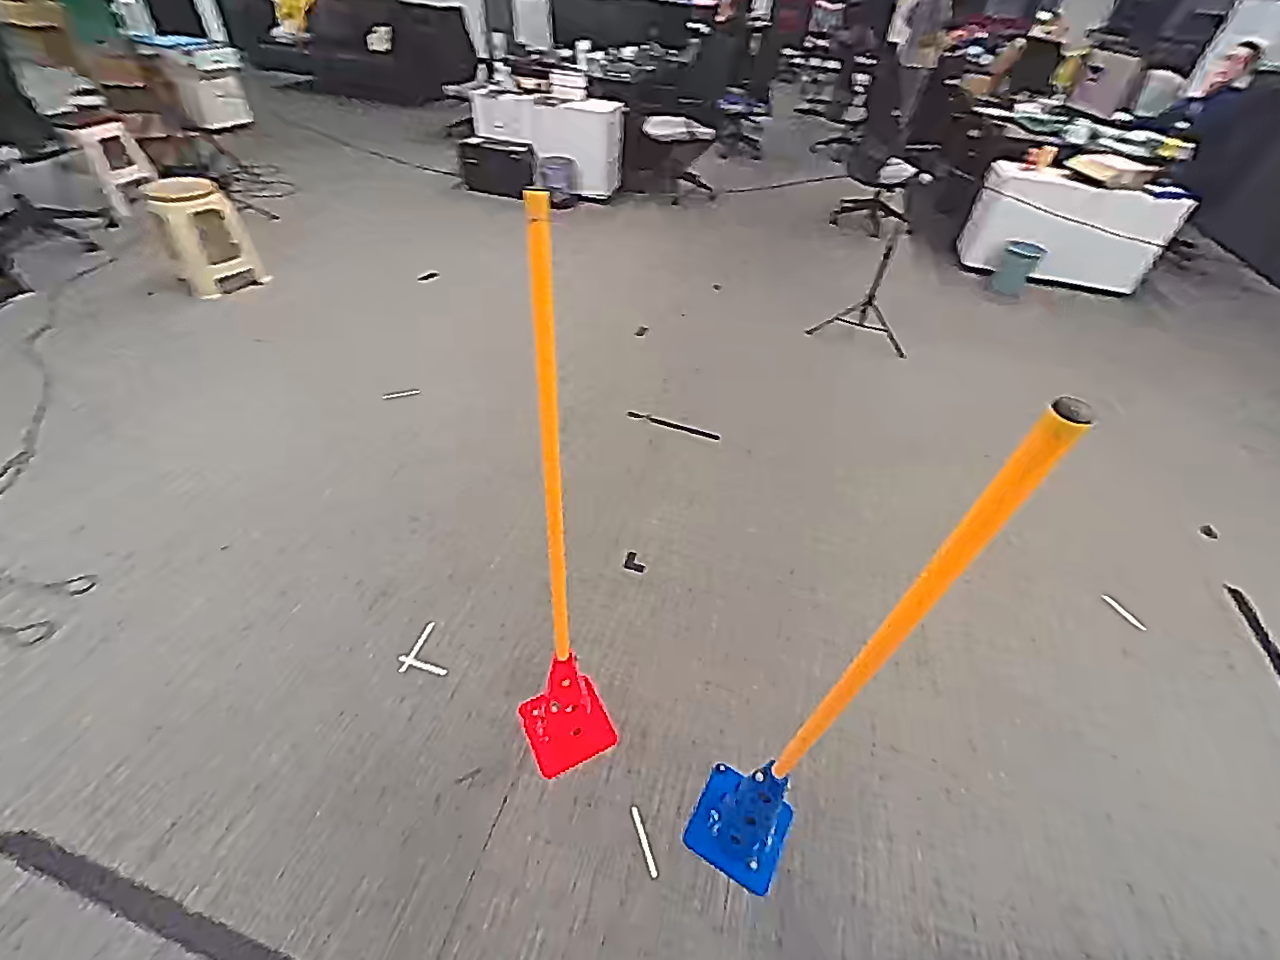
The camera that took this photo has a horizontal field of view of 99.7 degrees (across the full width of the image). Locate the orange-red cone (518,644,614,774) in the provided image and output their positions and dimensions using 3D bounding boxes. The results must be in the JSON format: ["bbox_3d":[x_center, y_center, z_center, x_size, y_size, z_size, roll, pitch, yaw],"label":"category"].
[{"bbox_3d":[-0.170,0.470,1.207,0.198,0.360,0.199,-18,50,-22],"label":"orange-red cone"}]

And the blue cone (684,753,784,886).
[{"bbox_3d":[0.221,0.643,1.089,0.192,0.380,0.193,25,47,21],"label":"blue cone"}]
